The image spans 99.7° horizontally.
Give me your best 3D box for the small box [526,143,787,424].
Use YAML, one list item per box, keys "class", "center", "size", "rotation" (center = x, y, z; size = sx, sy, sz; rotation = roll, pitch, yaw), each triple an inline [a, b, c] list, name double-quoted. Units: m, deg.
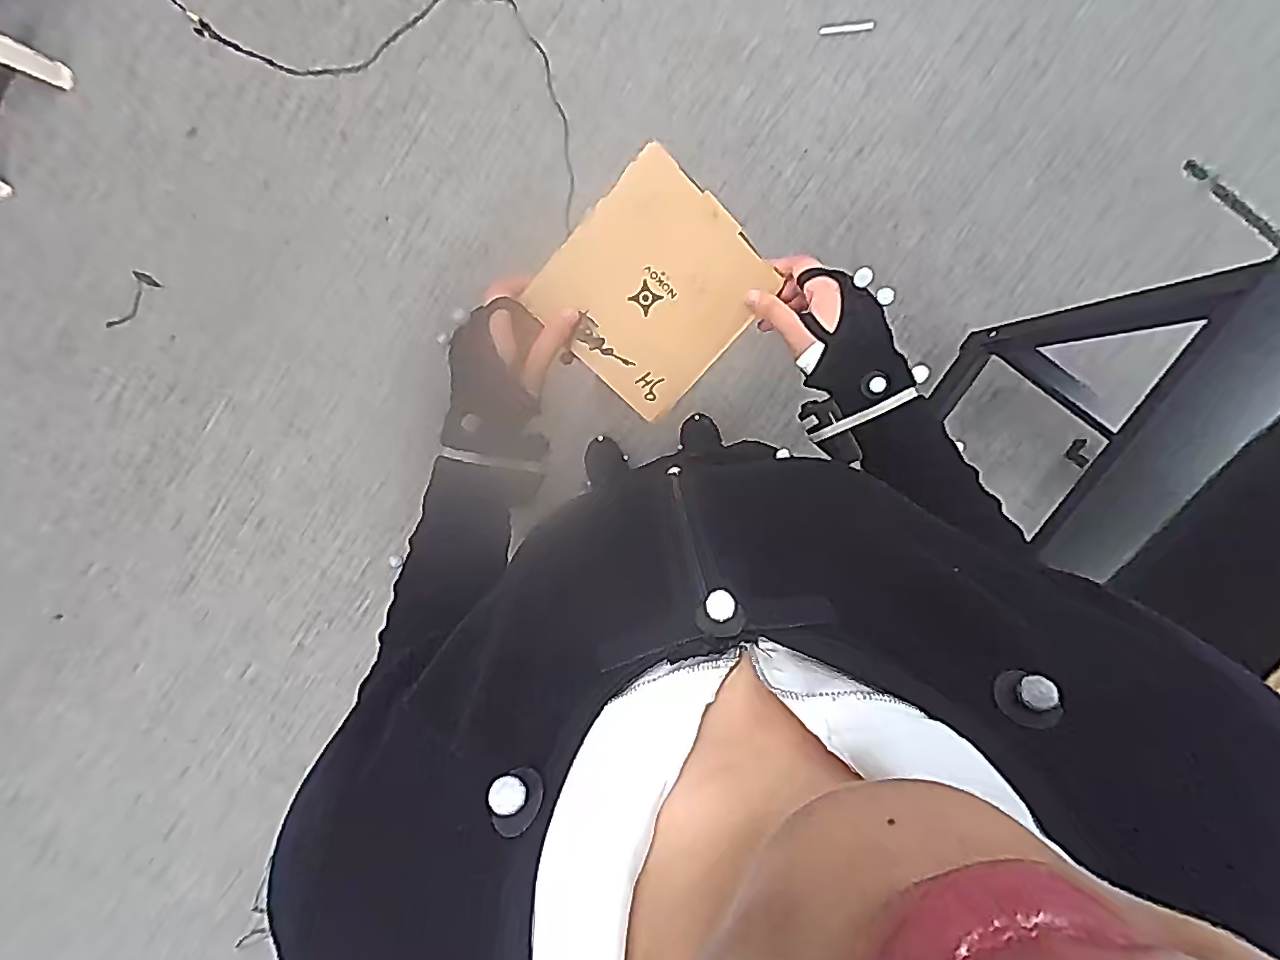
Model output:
- class: "small box"
  center: [0.009, -0.185, 0.547]
  size: [0.168, 0.176, 0.179]
  rotation: [41, 99, -12]
